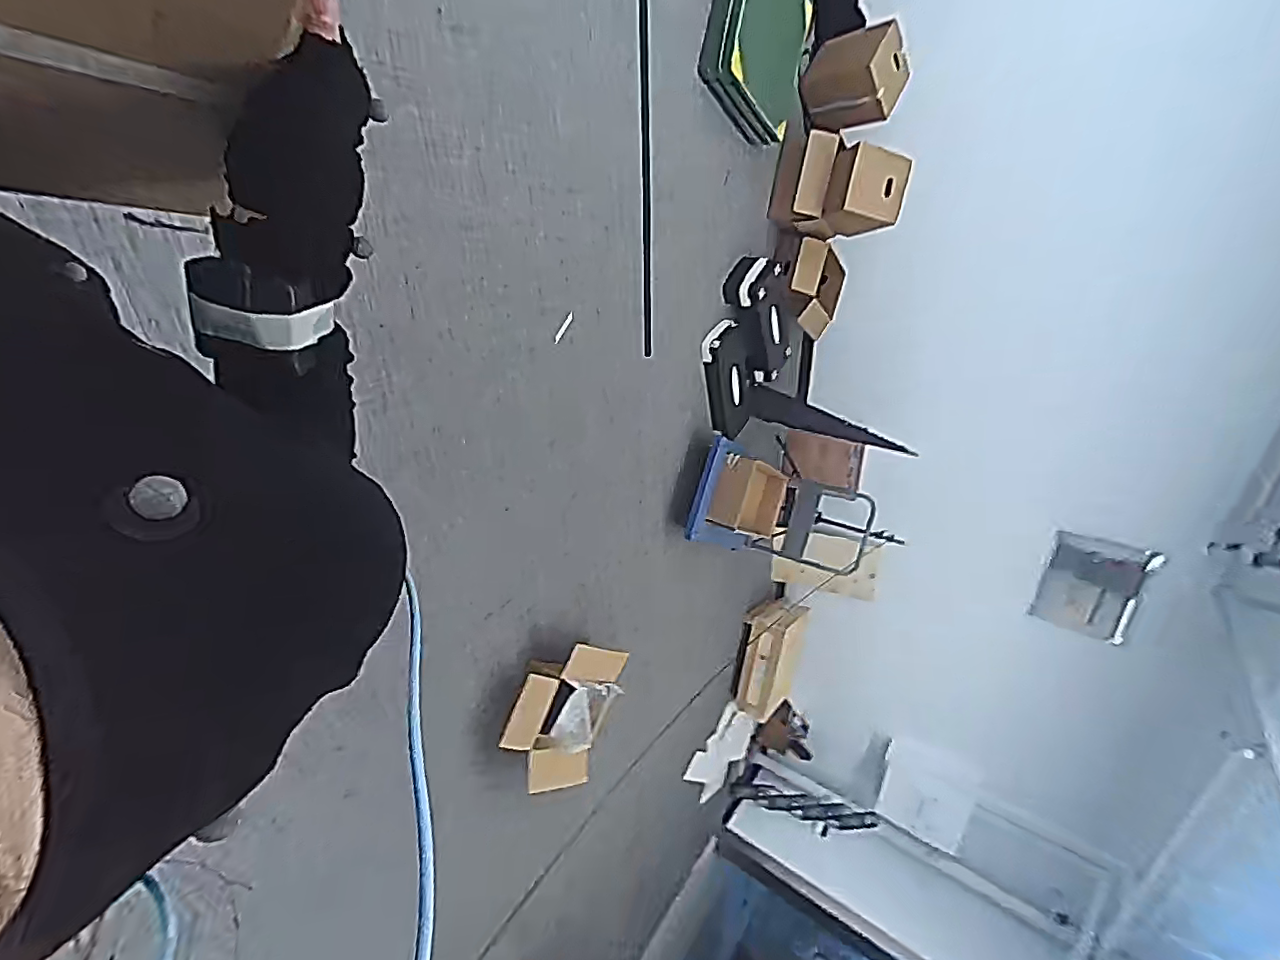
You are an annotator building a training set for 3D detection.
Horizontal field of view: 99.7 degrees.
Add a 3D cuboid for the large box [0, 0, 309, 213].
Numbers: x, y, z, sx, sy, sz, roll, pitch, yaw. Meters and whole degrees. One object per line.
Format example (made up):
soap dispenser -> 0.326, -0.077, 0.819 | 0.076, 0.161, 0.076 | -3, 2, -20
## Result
large box -> -0.361, -0.315, 0.139 | 0.408, 0.320, 0.320 | -14, 98, -43
